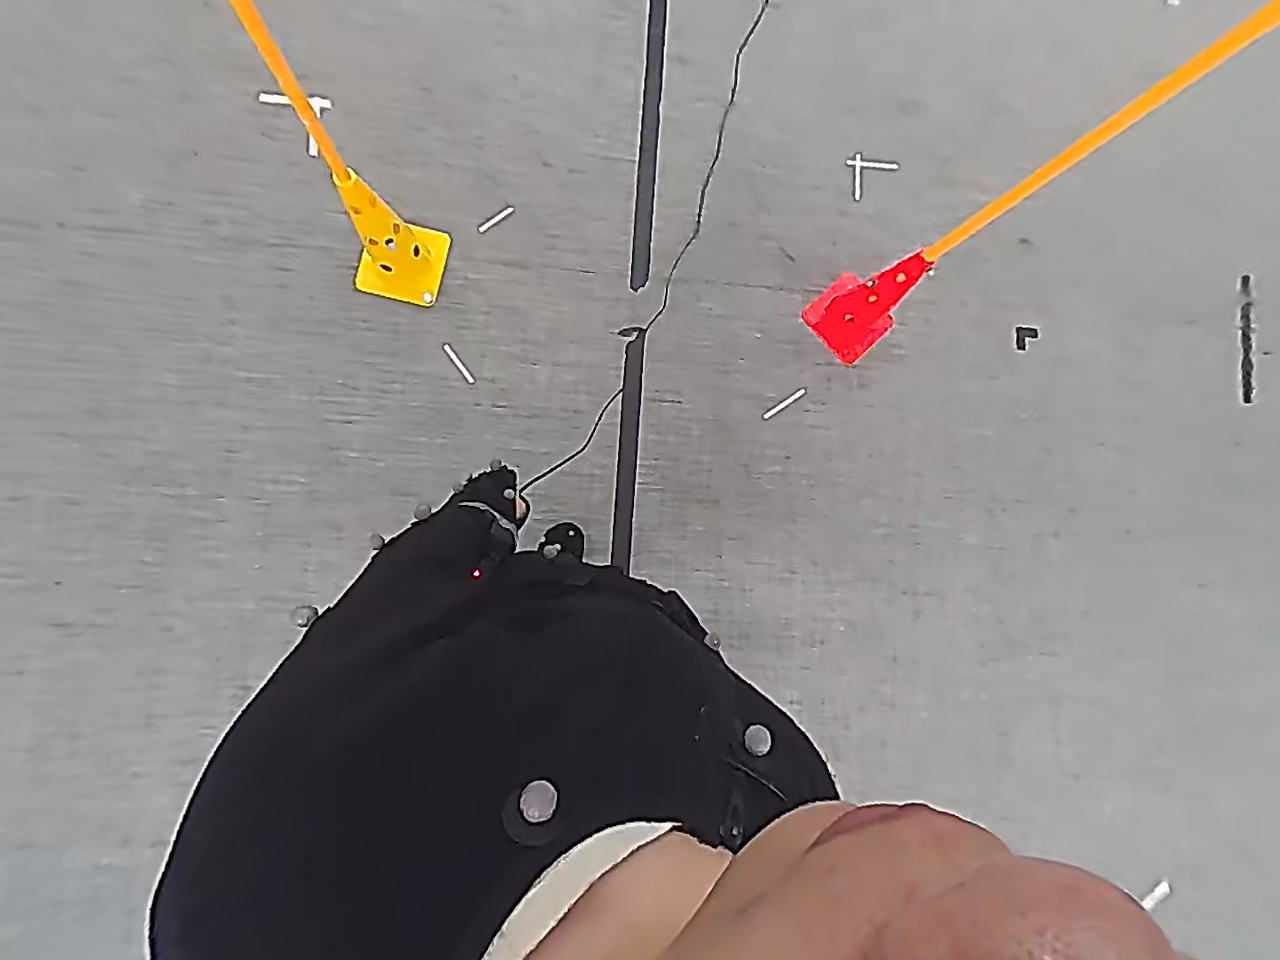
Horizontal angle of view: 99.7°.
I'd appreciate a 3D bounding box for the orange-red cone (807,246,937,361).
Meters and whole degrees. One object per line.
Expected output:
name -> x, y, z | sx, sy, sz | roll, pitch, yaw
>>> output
orange-red cone -> 0.596, -0.462, 1.316 | 0.199, 0.360, 0.198 | -42, 90, -6
